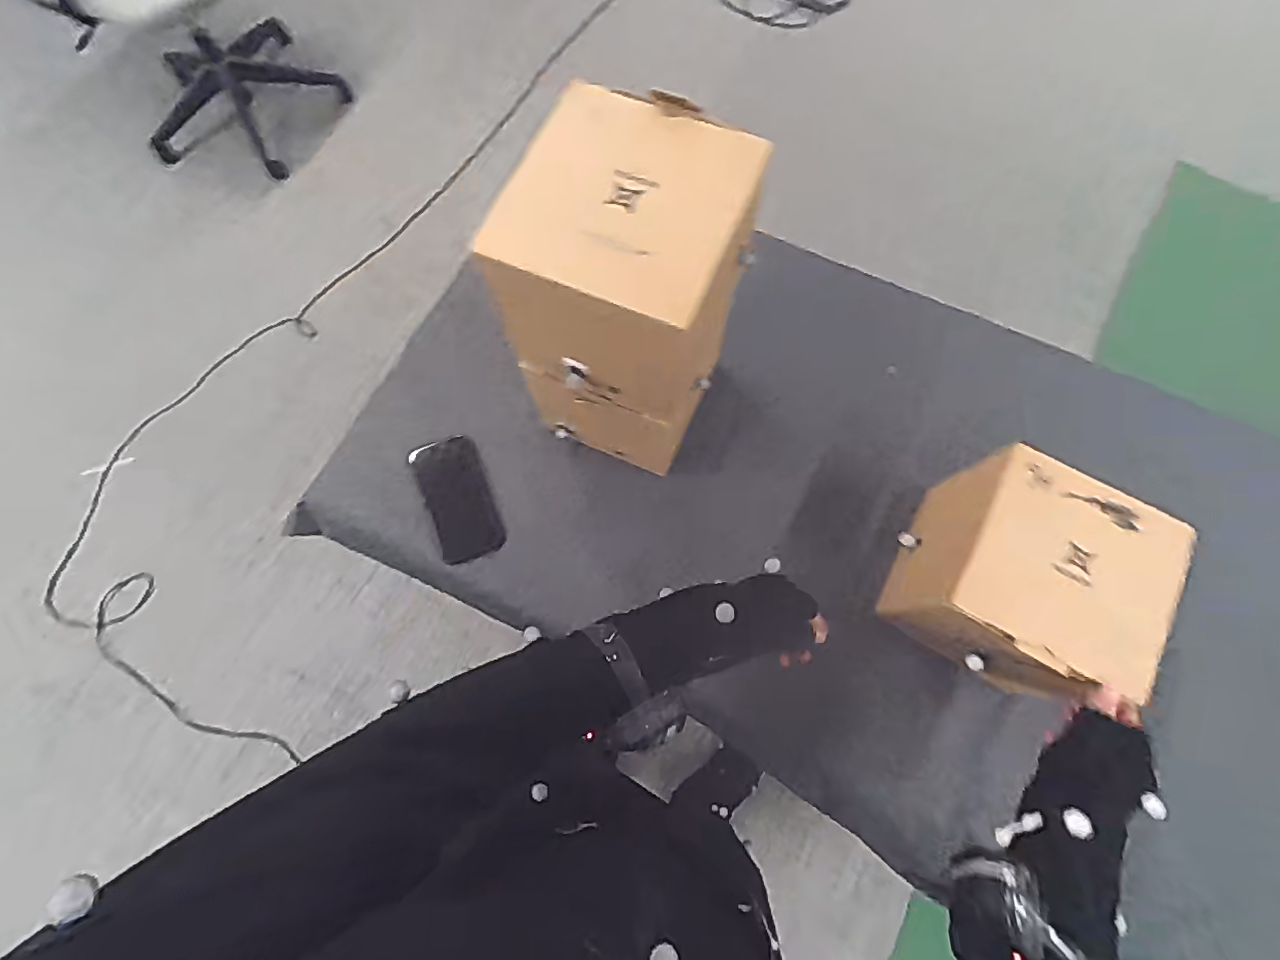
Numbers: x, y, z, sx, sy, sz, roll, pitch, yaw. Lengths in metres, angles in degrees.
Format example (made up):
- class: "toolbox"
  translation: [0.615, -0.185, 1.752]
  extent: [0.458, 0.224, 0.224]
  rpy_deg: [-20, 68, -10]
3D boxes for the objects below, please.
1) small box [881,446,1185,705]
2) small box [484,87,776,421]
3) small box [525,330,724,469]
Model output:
- class: "small box"
  translation: [0.378, 0.099, 0.555]
  extent: [0.168, 0.176, 0.179]
  rpy_deg: [30, 76, 8]
- class: "small box"
  translation: [-0.004, -0.180, 0.469]
  extent: [0.168, 0.176, 0.179]
  rpy_deg: [22, 76, 7]
- class: "small box"
  translation: [-0.007, -0.134, 0.625]
  extent: [0.168, 0.176, 0.179]
  rpy_deg: [23, 74, 6]
